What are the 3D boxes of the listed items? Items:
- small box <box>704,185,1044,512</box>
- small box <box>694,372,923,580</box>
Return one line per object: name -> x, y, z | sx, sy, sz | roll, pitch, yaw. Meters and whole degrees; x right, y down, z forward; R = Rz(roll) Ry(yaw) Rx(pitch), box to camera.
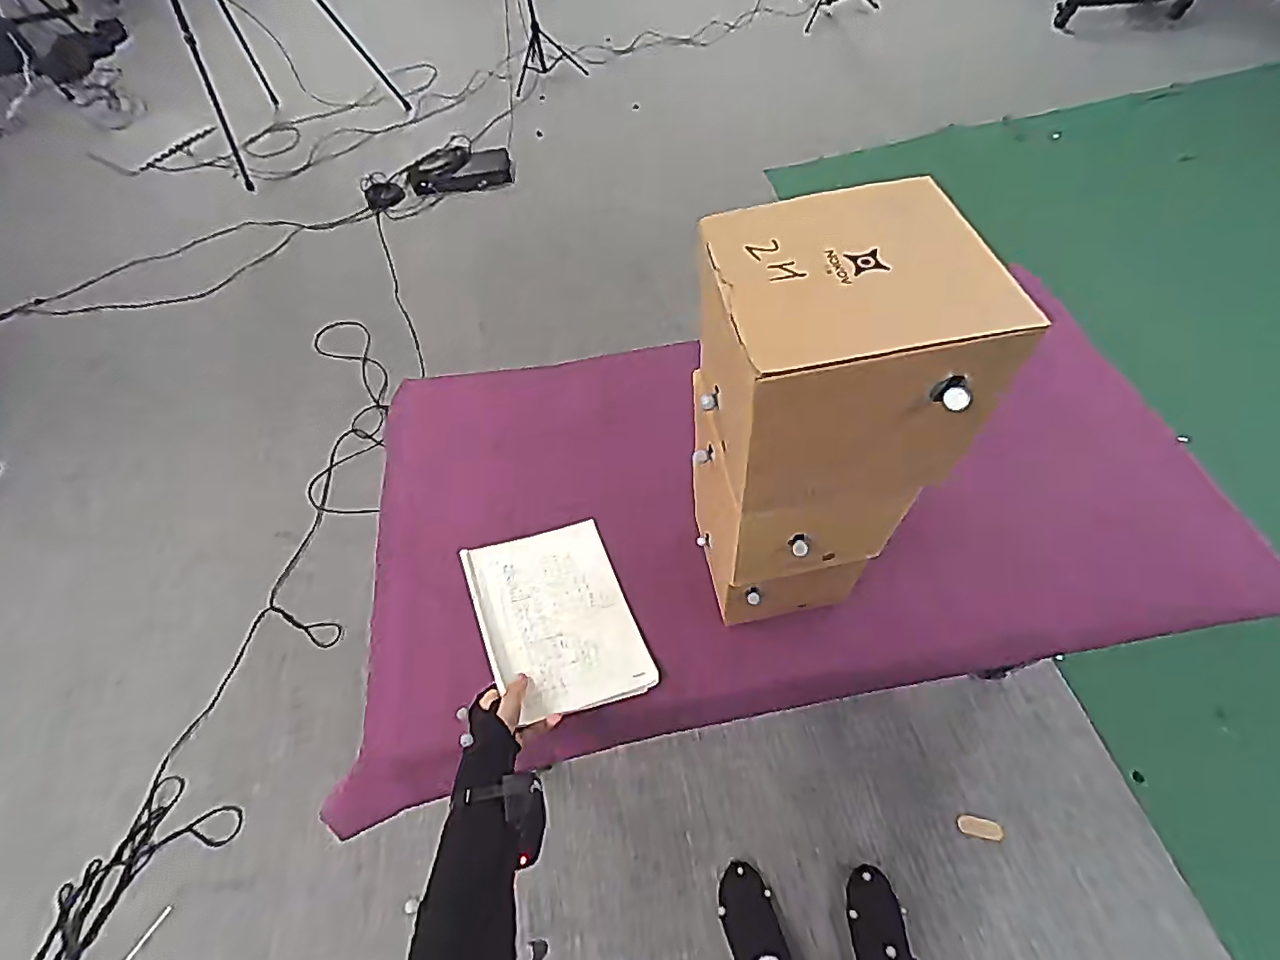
small box -> 0.149, -0.093, 0.424 | 0.179, 0.176, 0.168 | -10, 56, 1
small box -> 0.157, -0.009, 0.566 | 0.168, 0.176, 0.179 | -11, 57, 0
